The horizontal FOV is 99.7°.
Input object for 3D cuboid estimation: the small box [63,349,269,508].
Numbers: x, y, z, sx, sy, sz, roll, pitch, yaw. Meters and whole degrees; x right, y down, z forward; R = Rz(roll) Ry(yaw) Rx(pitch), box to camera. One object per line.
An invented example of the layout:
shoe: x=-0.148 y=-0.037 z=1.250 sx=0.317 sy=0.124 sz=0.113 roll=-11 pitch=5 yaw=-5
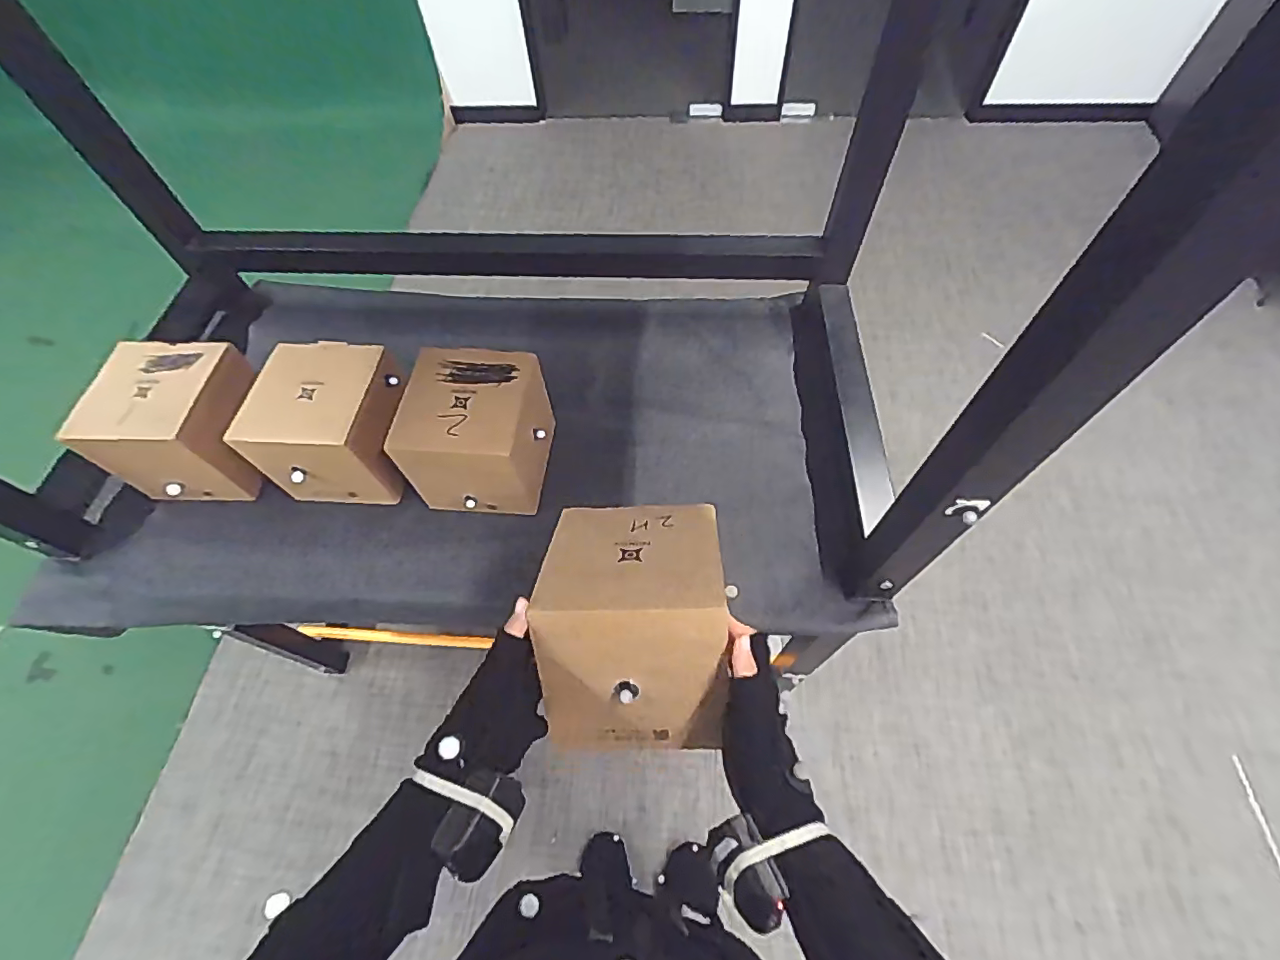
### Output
small box: x=-0.671 y=-0.075 z=0.816 sx=0.168 sy=0.176 sz=0.179 roll=0 pitch=58 yaw=3

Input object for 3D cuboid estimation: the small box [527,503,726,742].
small box: x=-0.002 y=0.138 z=0.545 sx=0.168 sy=0.176 sz=0.179 roll=-2 pitch=24 yaw=4

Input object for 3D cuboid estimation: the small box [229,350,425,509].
small box: x=-0.444 y=-0.070 z=0.806 sx=0.168 sy=0.176 sz=0.179 roll=2 pitch=58 yaw=3
